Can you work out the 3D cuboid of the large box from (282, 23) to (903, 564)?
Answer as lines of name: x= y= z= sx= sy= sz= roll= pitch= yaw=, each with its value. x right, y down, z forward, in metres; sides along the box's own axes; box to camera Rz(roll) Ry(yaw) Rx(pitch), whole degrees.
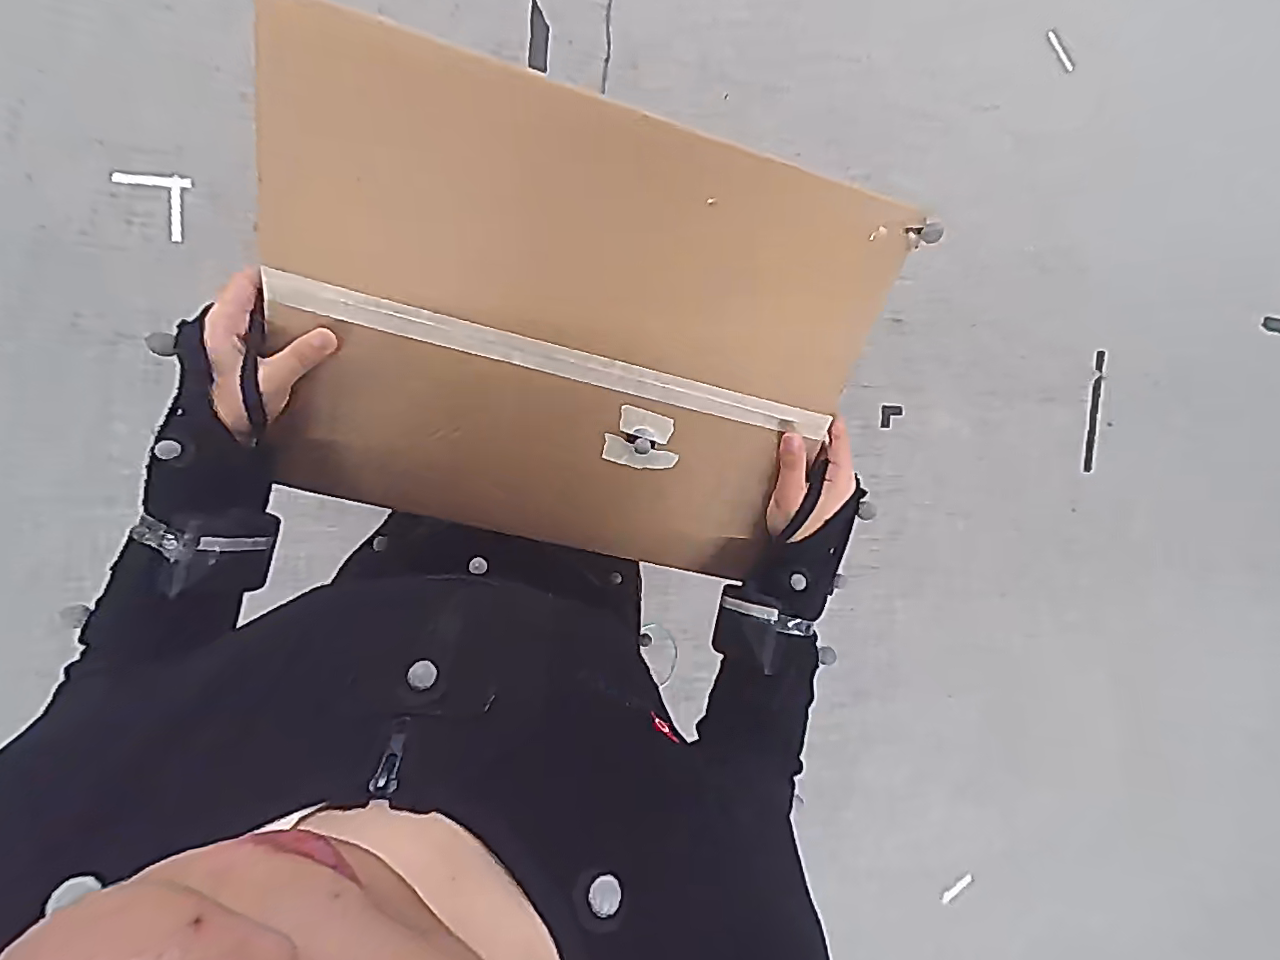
large box: x=-0.058 y=-0.159 z=0.532 sx=0.408 sy=0.320 sz=0.320 roll=12 pitch=118 yaw=-10
